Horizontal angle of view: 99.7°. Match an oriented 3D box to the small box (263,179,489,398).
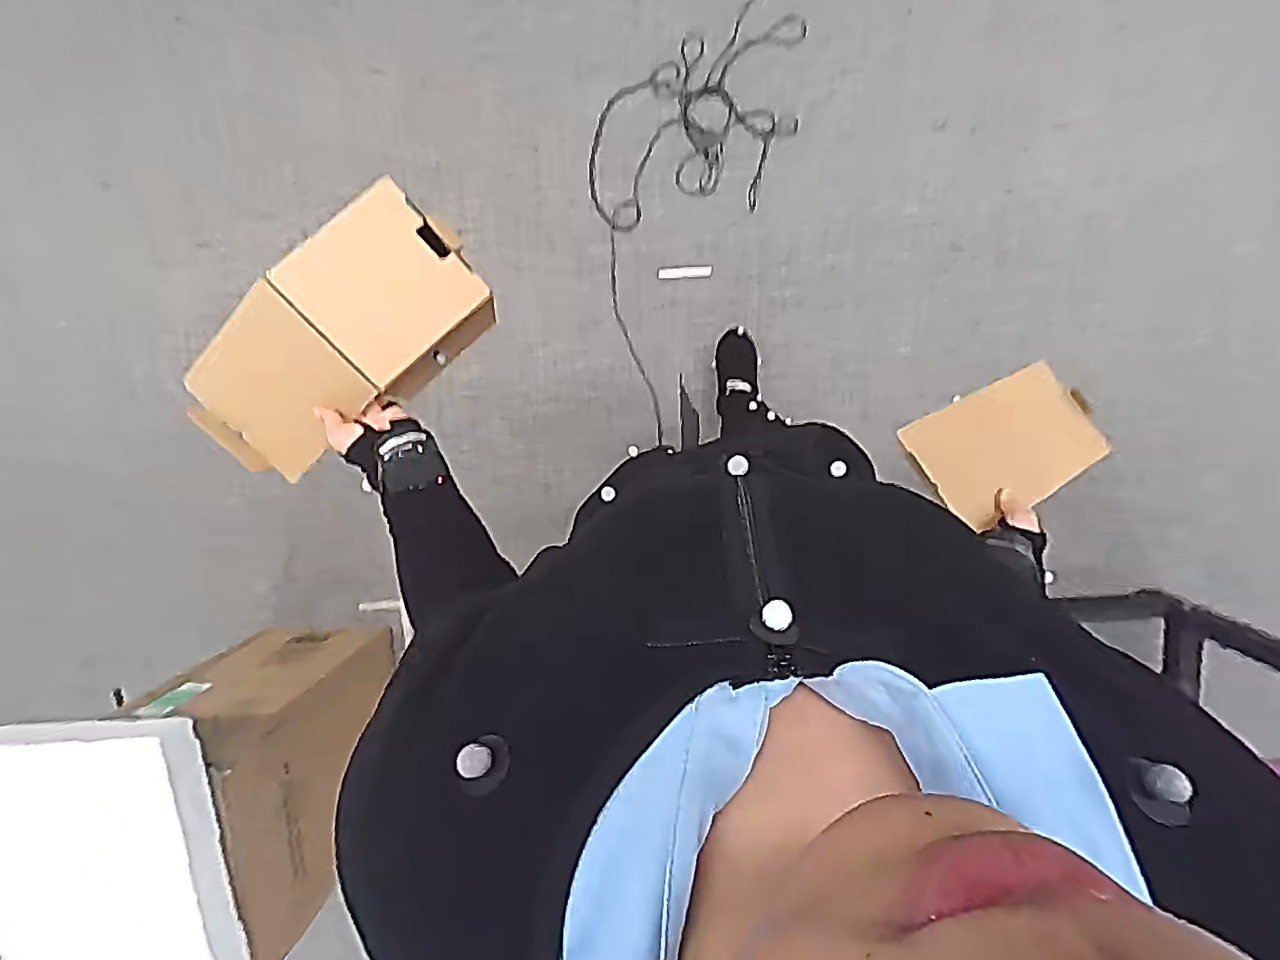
[{"bbox_3d":[-0.304,-0.219,0.674,0.179,0.176,0.168,-44,102,-8],"label":"small box"}]
